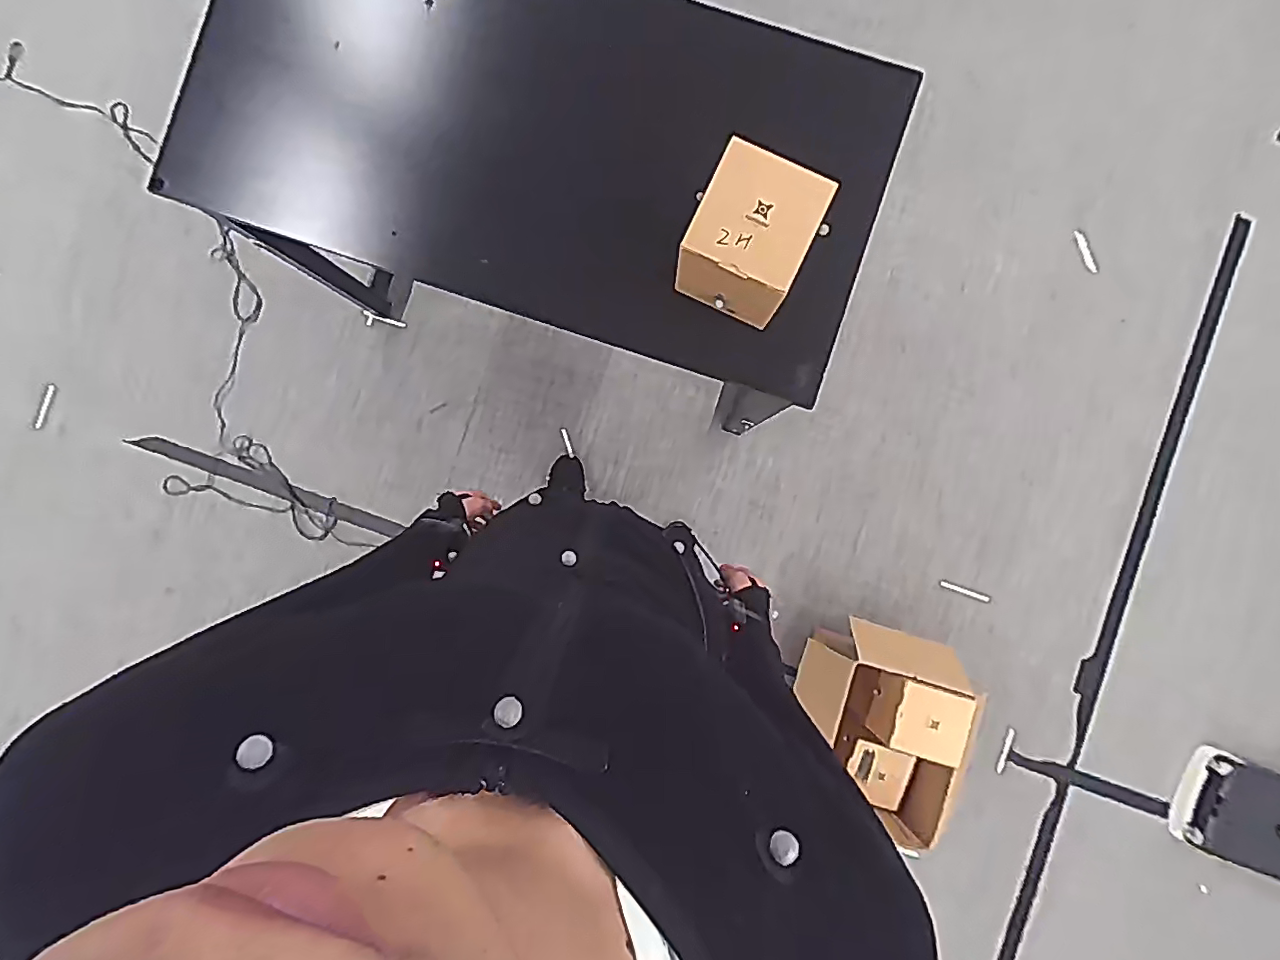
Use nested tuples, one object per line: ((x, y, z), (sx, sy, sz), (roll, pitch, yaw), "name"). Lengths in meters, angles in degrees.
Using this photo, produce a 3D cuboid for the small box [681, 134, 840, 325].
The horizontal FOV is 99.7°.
((0.169, -0.368, 0.826), (0.168, 0.176, 0.179), (26, 90, 2), "small box")
